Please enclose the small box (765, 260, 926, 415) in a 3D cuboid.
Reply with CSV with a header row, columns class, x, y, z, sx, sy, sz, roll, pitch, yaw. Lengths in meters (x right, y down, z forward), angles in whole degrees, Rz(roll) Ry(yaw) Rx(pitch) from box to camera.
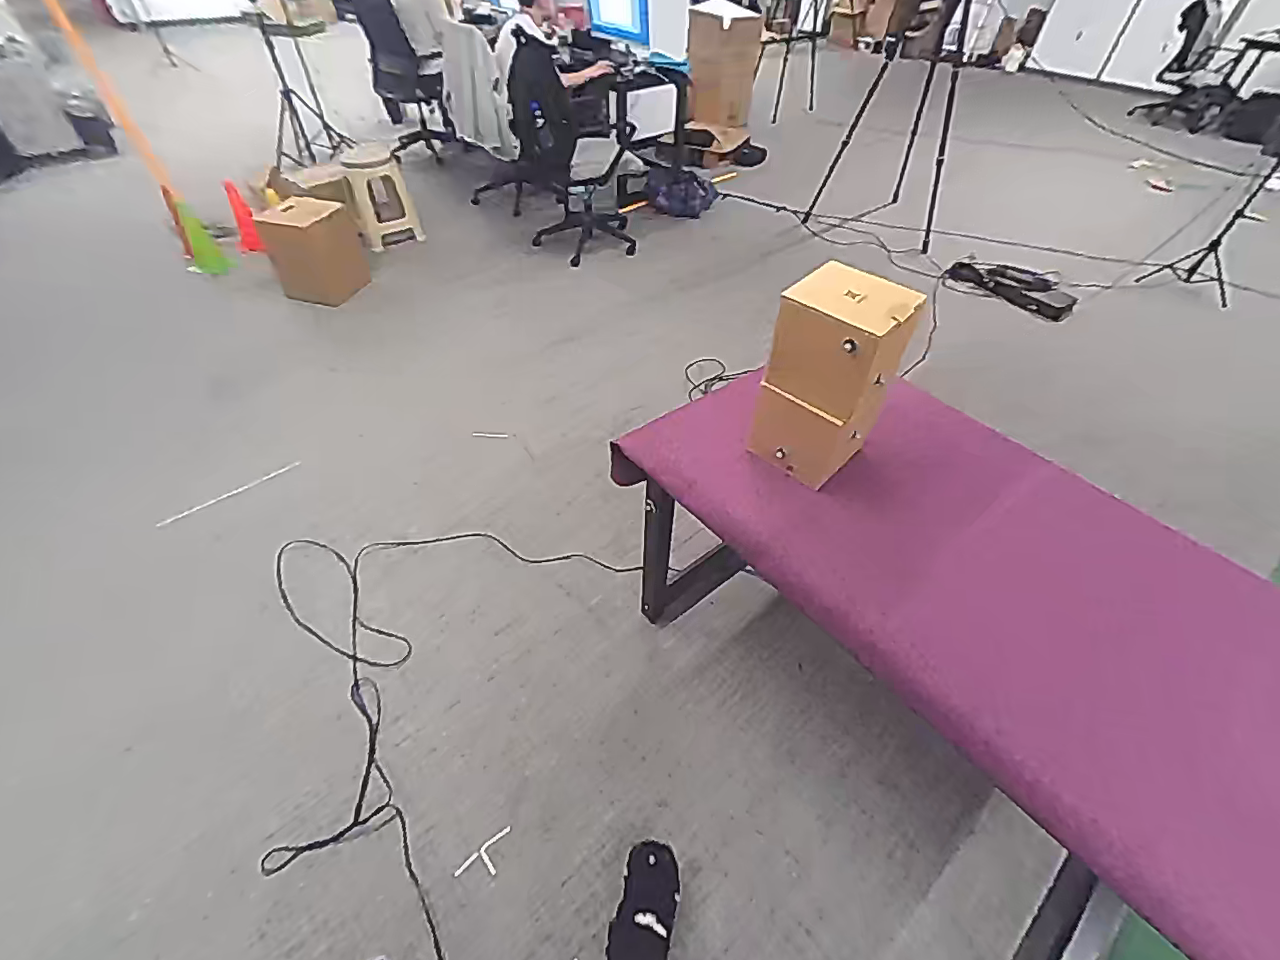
class,x,y,z,sx,sy,sz,roll,pitch,yaw
small box,0.332,-0.238,0.905,0.179,0.176,0.168,35,56,27
